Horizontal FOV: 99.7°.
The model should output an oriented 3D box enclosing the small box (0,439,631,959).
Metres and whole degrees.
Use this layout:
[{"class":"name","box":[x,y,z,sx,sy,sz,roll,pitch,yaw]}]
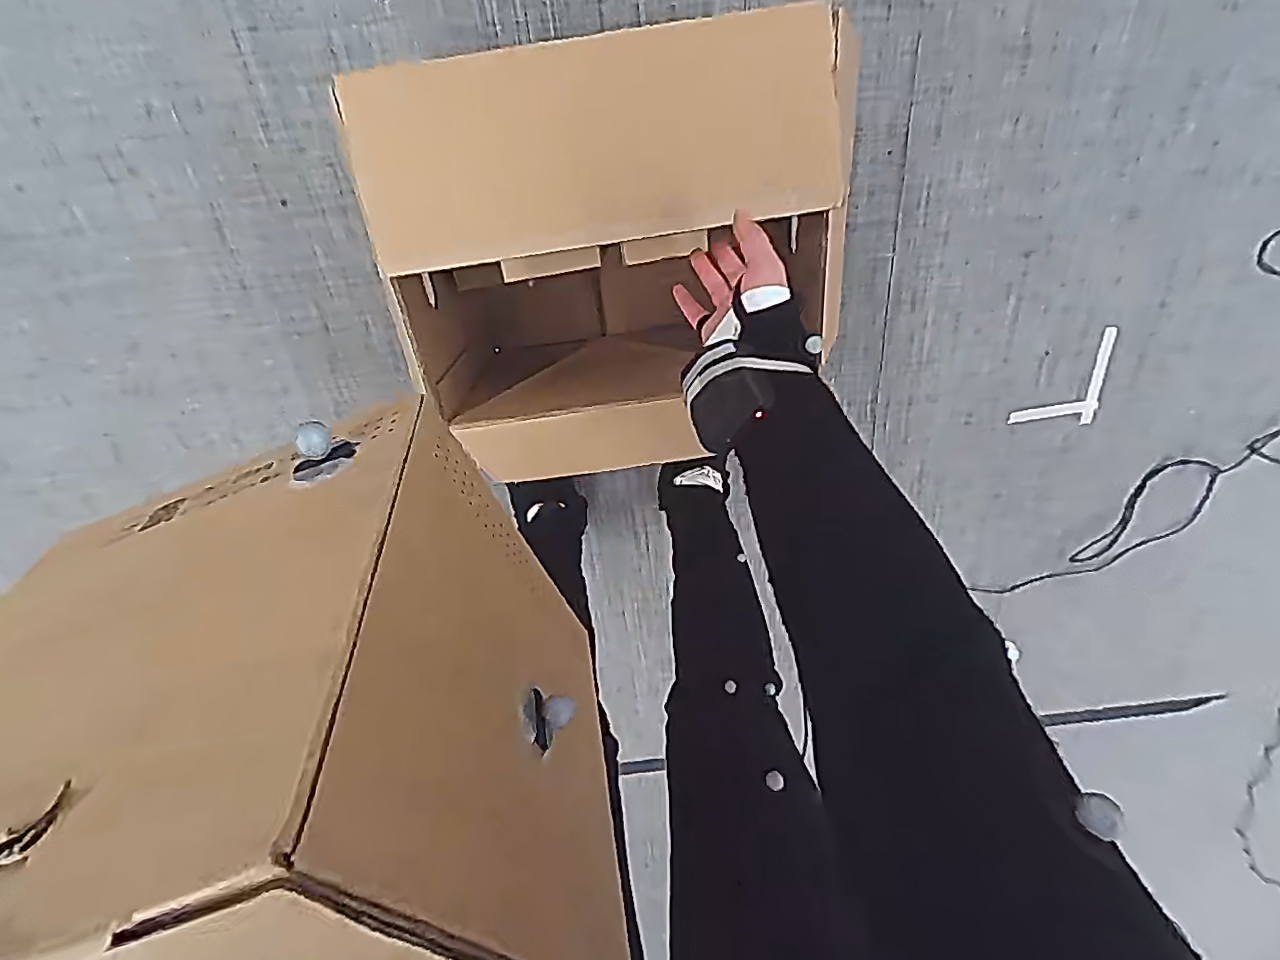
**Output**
[{"class":"small box","box":[-0.119,0.105,0.212,0.168,0.176,0.179,-21,128,3]}]
